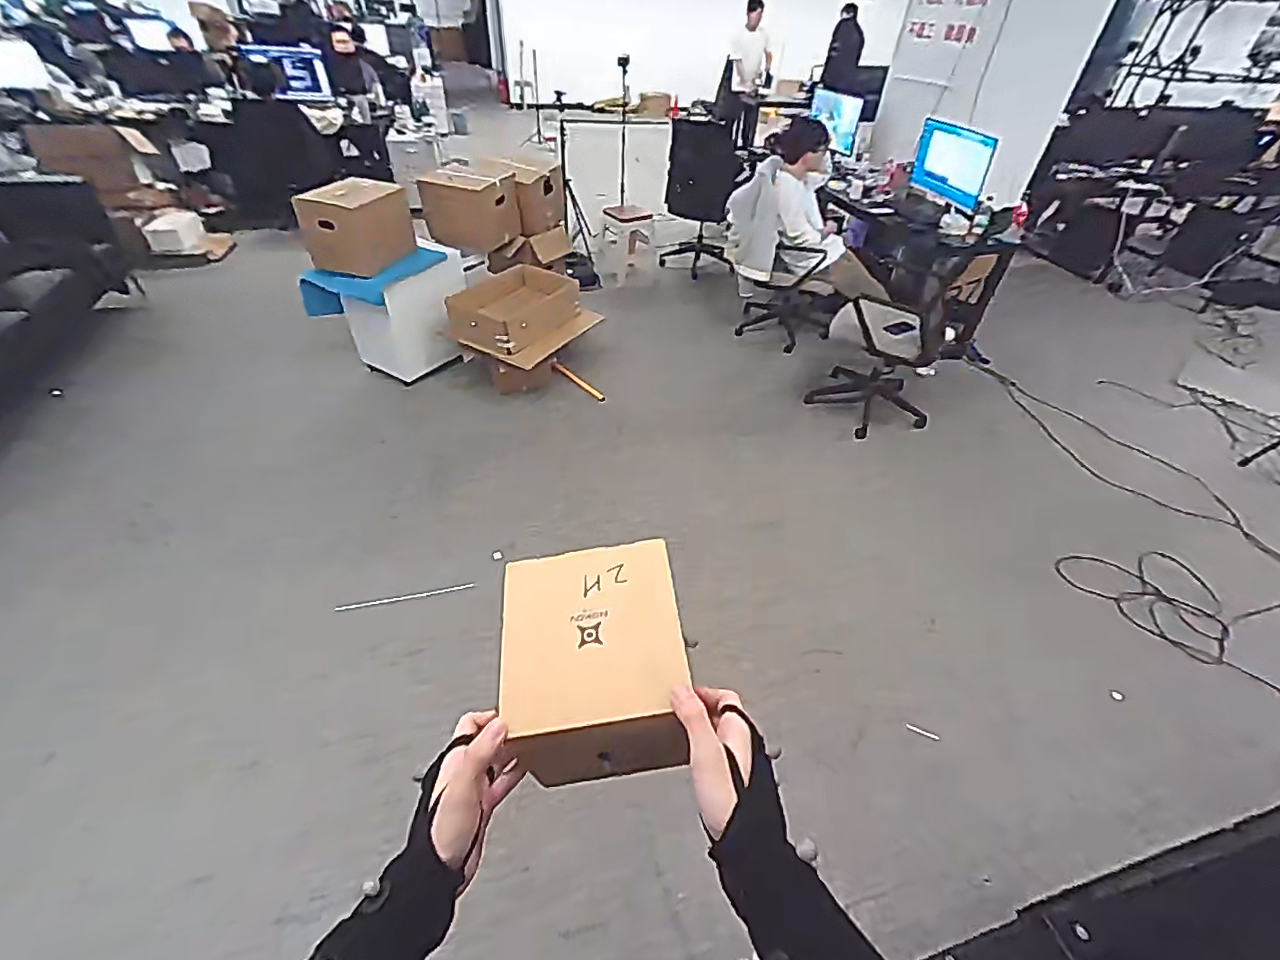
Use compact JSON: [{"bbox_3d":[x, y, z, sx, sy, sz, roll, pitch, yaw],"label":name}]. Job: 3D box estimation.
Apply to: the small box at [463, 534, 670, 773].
[{"bbox_3d":[-0.062,0.179,0.542,0.168,0.176,0.179,-6,49,-1],"label":"small box"}]
